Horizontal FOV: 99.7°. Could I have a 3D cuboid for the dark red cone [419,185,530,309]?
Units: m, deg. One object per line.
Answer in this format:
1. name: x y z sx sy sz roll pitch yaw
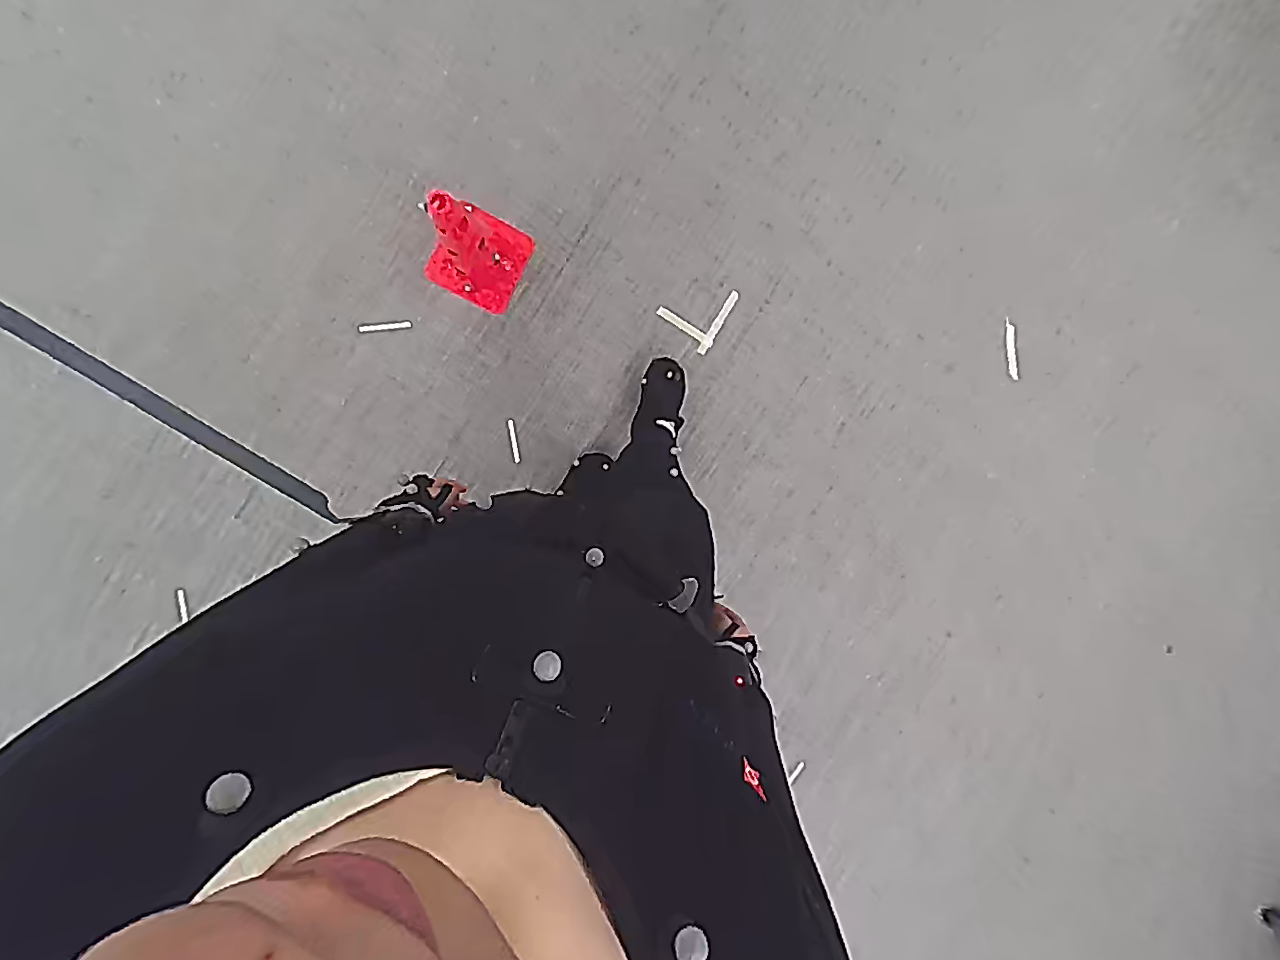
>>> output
1. dark red cone: -0.352 -0.485 1.050 0.202 0.394 0.201 26 96 -8
